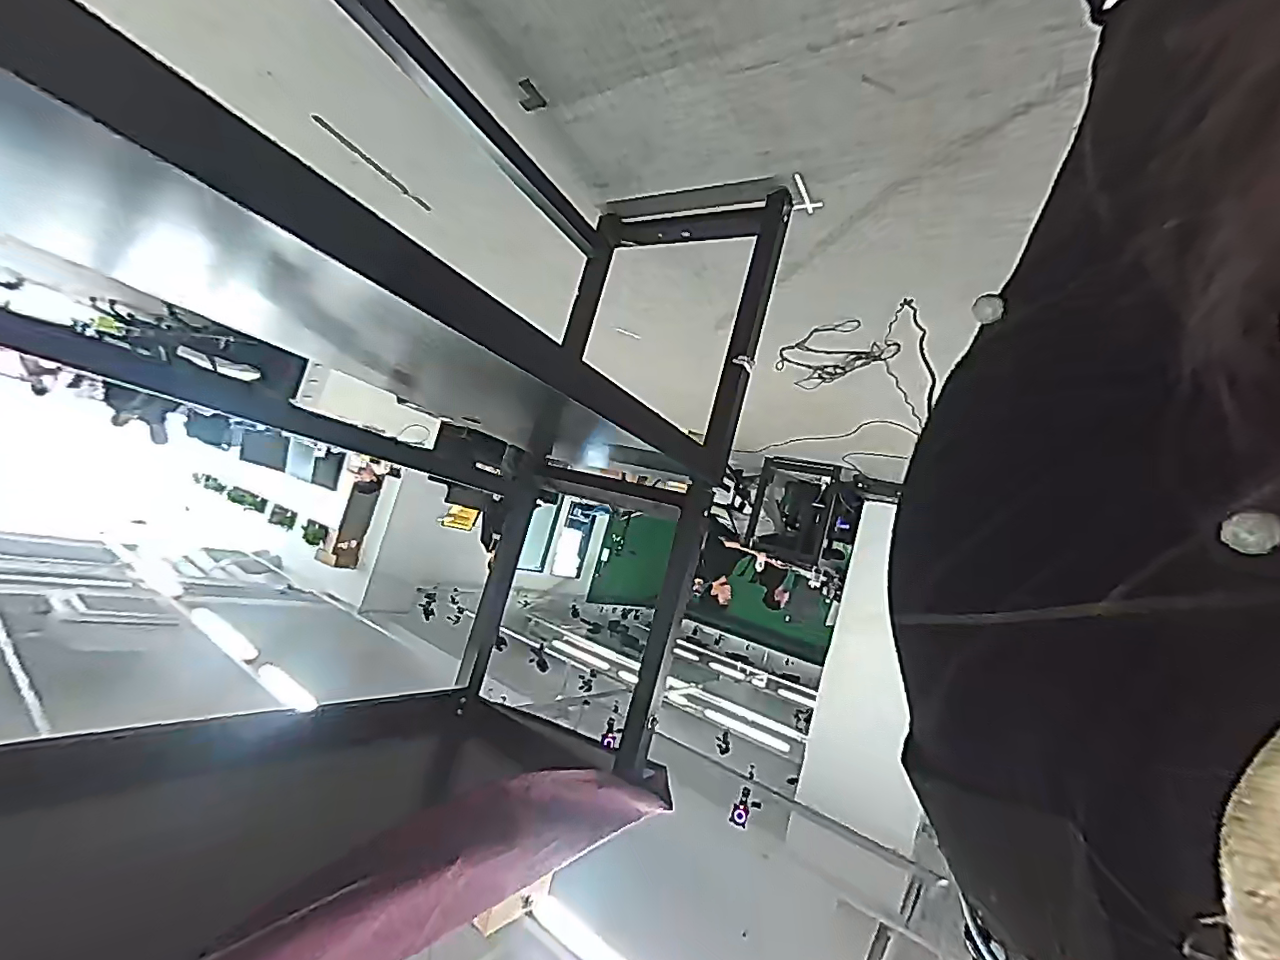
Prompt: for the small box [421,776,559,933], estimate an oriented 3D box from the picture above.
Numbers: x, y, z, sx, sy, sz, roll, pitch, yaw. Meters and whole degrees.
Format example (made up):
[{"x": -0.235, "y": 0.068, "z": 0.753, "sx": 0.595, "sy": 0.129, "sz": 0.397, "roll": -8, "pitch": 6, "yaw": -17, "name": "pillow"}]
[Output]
[{"x": -0.287, "y": 0.714, "z": 1.059, "sx": 0.179, "sy": 0.176, "sz": 0.168, "roll": 13, "pitch": 173, "yaw": 34, "name": "small box"}]
